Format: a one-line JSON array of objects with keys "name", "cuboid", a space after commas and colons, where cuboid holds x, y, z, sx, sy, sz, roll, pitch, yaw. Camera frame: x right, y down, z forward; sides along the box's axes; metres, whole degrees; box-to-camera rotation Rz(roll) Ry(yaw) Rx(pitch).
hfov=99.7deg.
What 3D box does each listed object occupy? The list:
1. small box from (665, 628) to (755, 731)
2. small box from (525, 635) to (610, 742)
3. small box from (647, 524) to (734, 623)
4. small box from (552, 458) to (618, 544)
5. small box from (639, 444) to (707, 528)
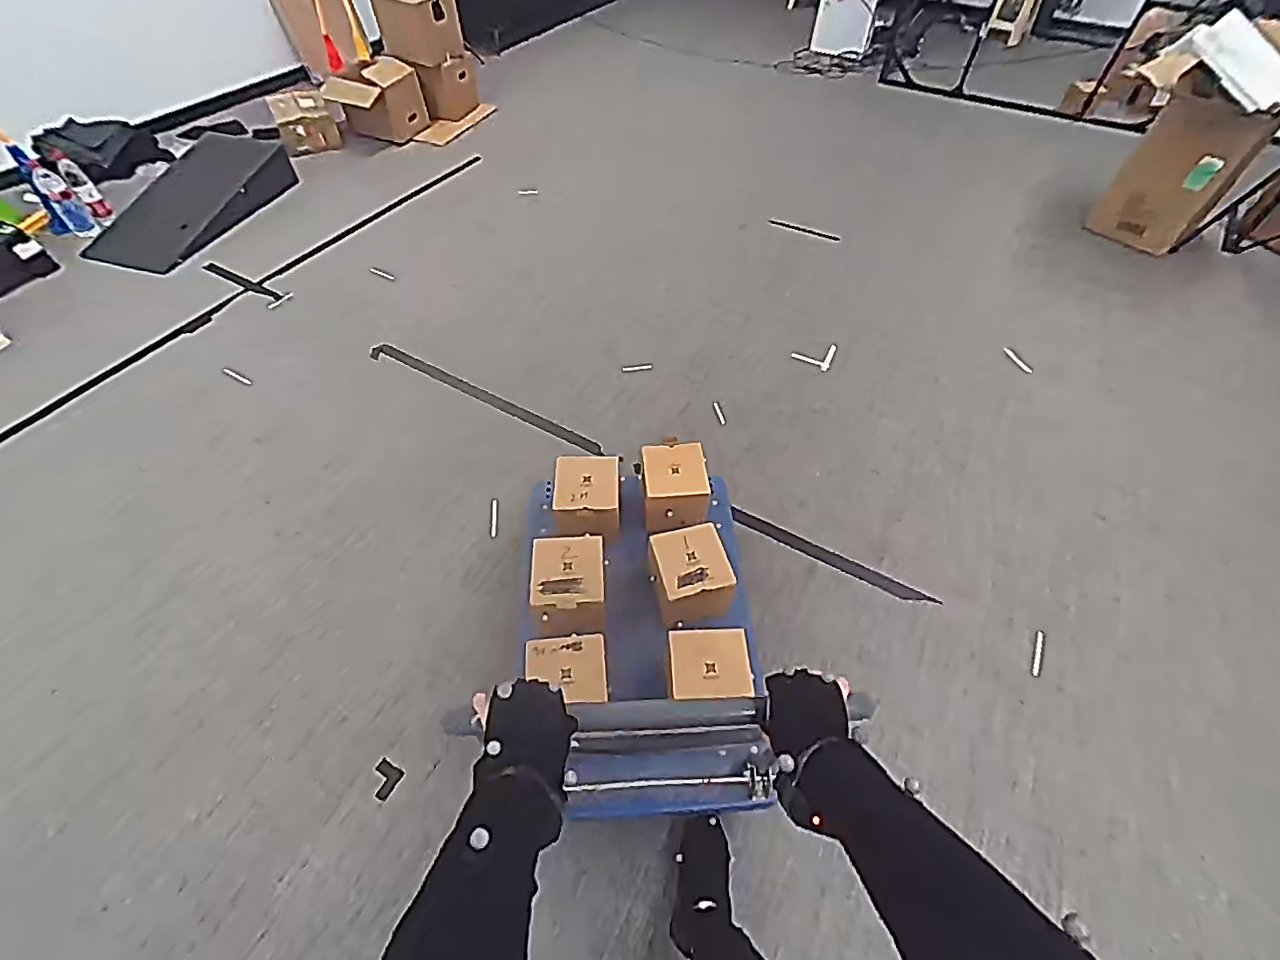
[{"name": "small box", "cuboid": [0.144, 0.442, 1.184, 0.168, 0.176, 0.179, -1, 52, -3]}, {"name": "small box", "cuboid": [-0.152, 0.453, 1.165, 0.168, 0.176, 0.179, -4, 53, -6]}, {"name": "small box", "cuboid": [0.118, 0.238, 1.339, 0.168, 0.176, 0.179, -11, 53, -10]}, {"name": "small box", "cuboid": [-0.143, 0.058, 1.469, 0.168, 0.176, 0.179, 0, 53, -2]}, {"name": "small box", "cuboid": [0.086, 0.023, 1.504, 0.168, 0.176, 0.179, -4, 52, -4]}]
